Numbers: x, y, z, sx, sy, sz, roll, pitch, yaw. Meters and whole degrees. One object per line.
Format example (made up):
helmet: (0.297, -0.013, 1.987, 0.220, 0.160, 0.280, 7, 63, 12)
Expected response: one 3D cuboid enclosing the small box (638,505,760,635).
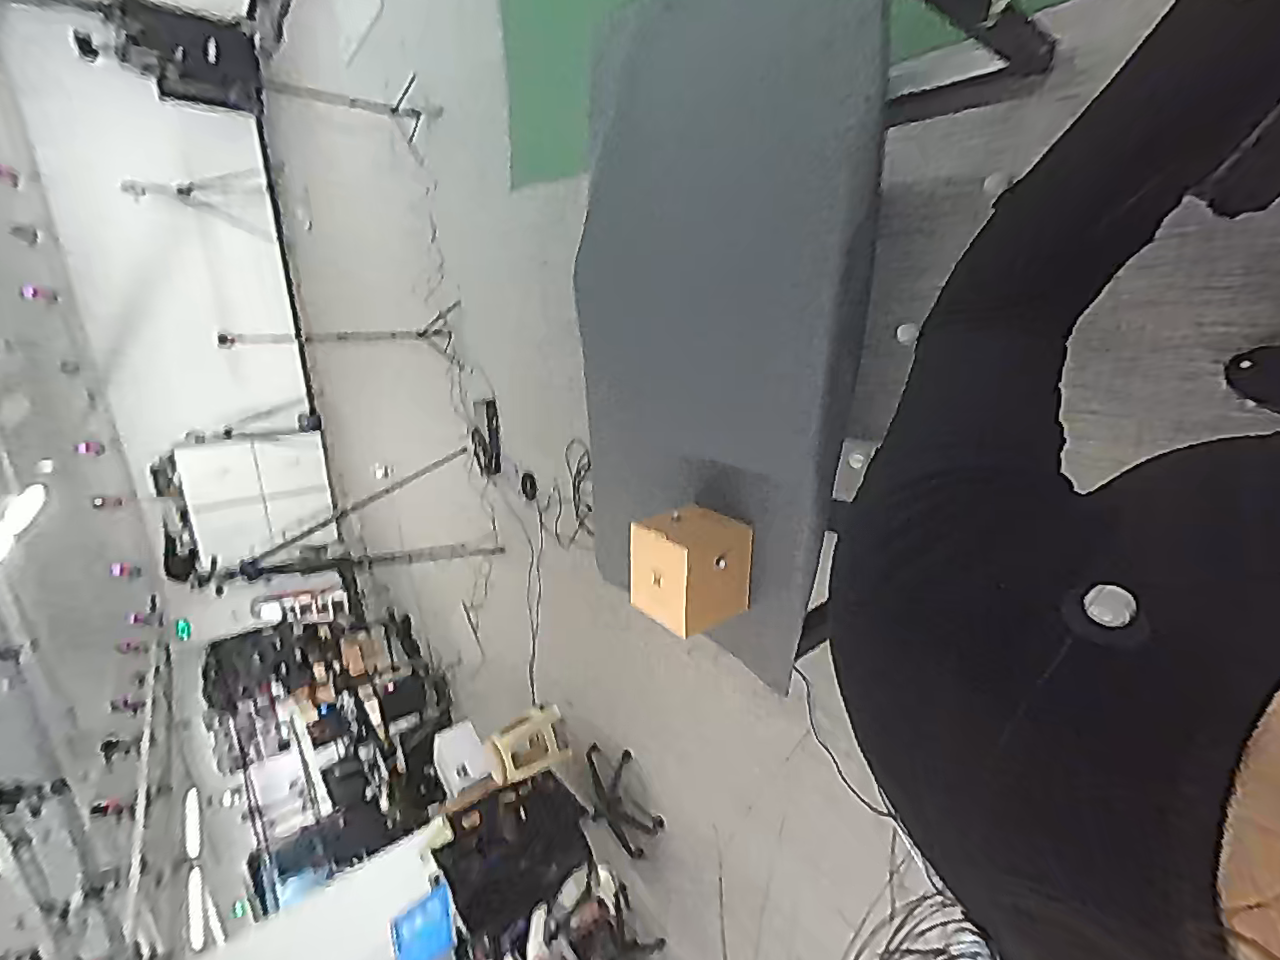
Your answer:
small box: (0.113, 0.159, 1.037, 0.168, 0.176, 0.179, 20, 117, 50)
